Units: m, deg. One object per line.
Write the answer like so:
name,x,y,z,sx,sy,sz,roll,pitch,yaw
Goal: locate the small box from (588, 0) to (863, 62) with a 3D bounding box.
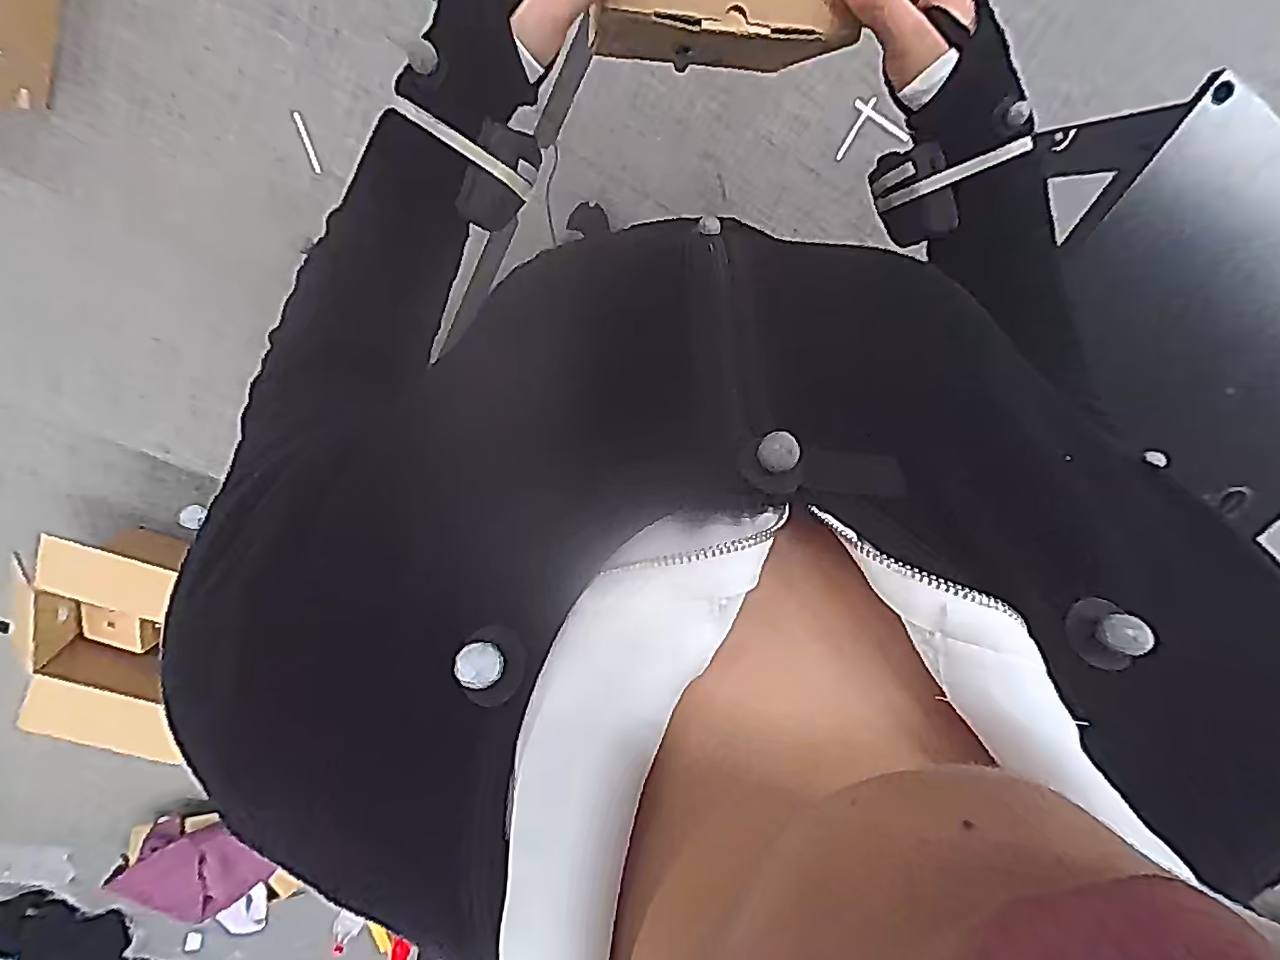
small box,0.052,-0.398,0.352,0.168,0.176,0.179,-1,123,-8
